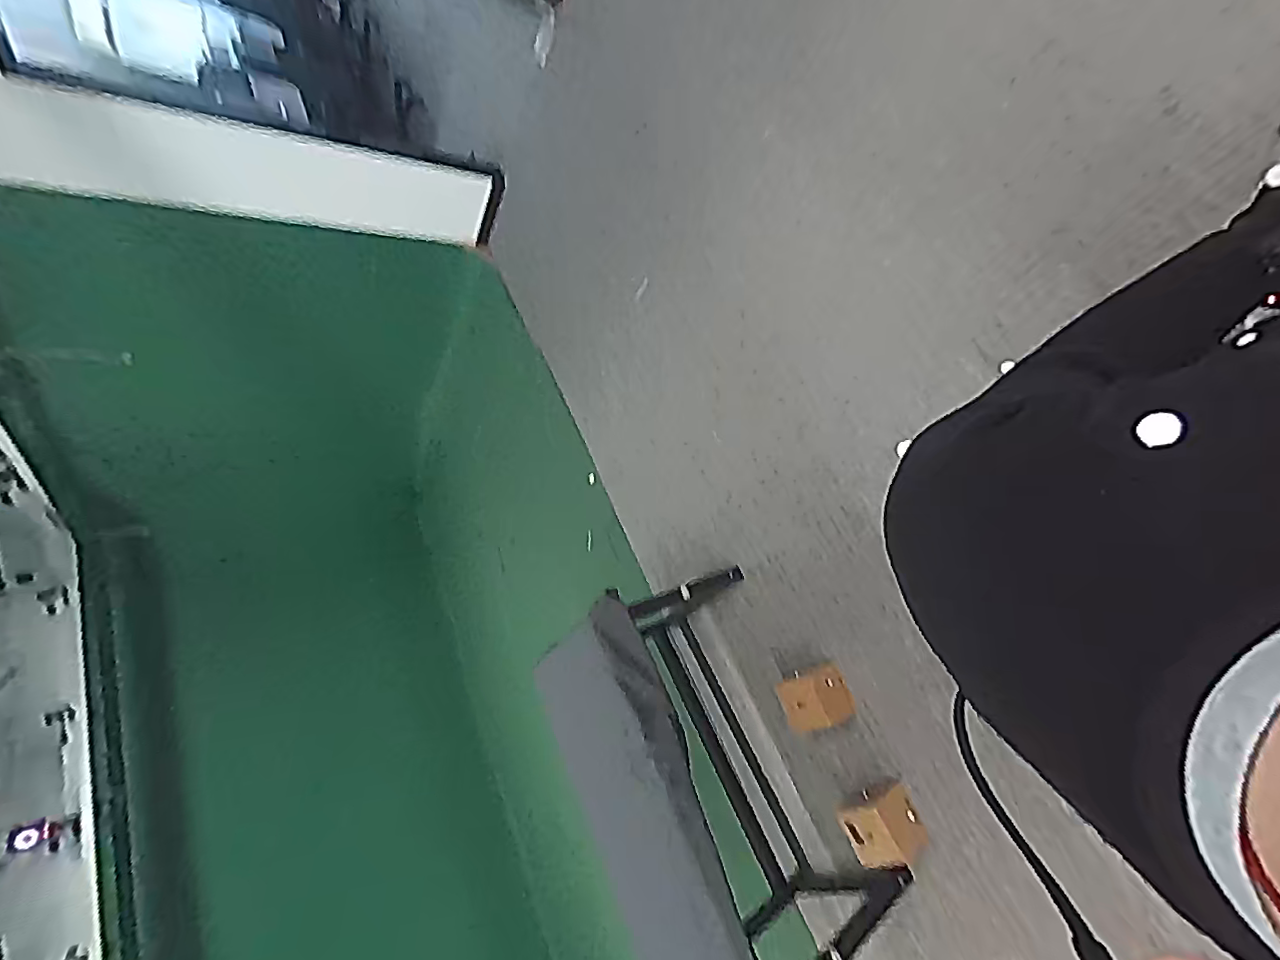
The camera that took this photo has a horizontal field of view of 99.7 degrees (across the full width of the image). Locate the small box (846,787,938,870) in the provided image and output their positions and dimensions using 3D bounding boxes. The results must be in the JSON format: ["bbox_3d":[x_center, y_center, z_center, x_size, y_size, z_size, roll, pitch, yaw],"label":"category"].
[{"bbox_3d":[0.809,1.116,1.734,0.179,0.176,0.168,-50,59,44],"label":"small box"}]

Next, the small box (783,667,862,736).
[{"bbox_3d":[0.642,0.766,1.879,0.179,0.176,0.168,-44,62,49],"label":"small box"}]
